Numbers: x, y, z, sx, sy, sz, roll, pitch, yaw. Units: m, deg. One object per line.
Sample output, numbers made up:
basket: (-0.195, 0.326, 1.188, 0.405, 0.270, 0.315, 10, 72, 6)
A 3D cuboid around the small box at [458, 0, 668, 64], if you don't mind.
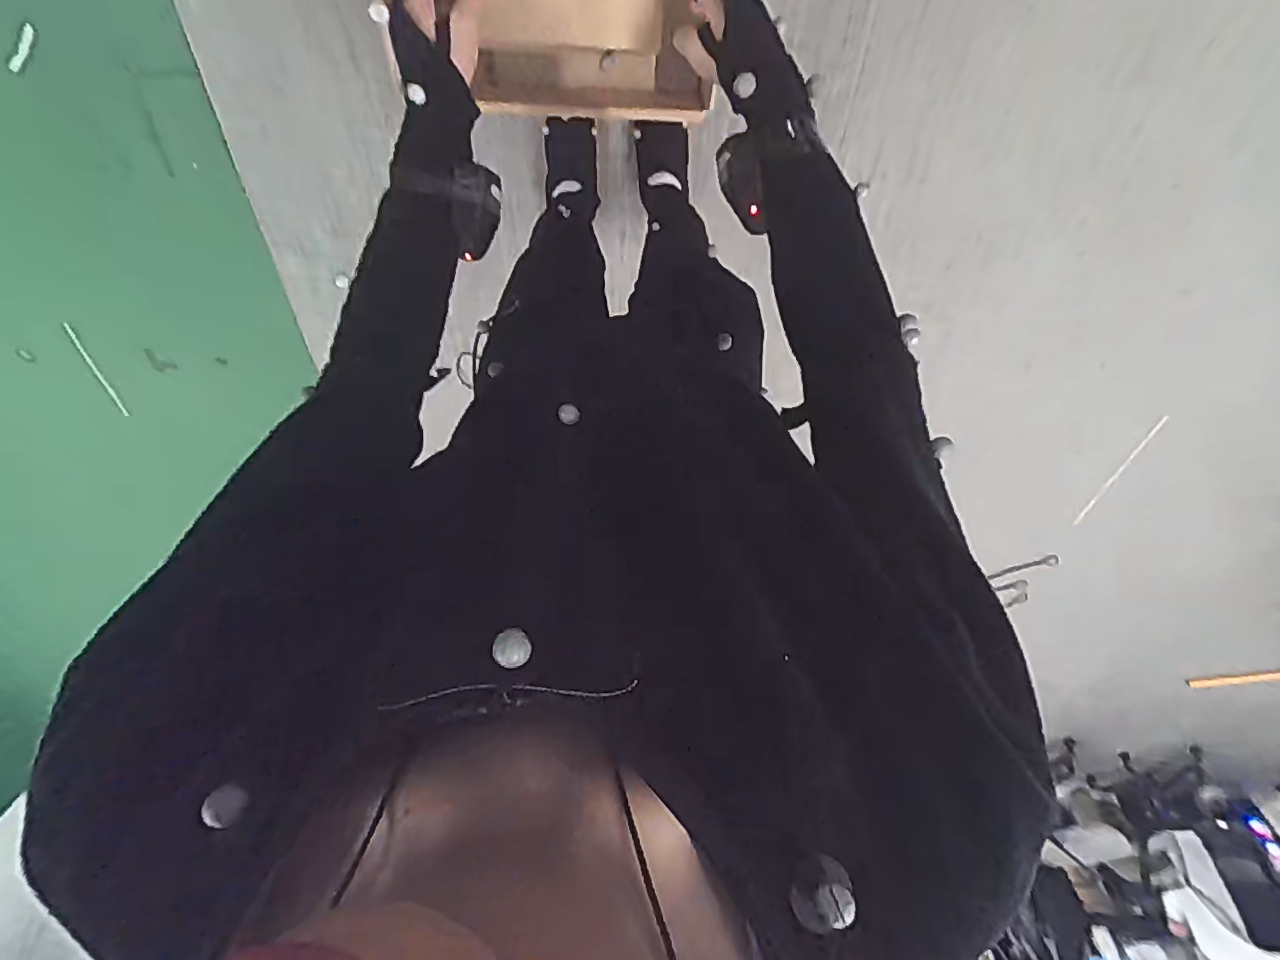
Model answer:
small box: (-0.069, -0.483, 0.485, 0.179, 0.176, 0.168, -1, 126, -7)
